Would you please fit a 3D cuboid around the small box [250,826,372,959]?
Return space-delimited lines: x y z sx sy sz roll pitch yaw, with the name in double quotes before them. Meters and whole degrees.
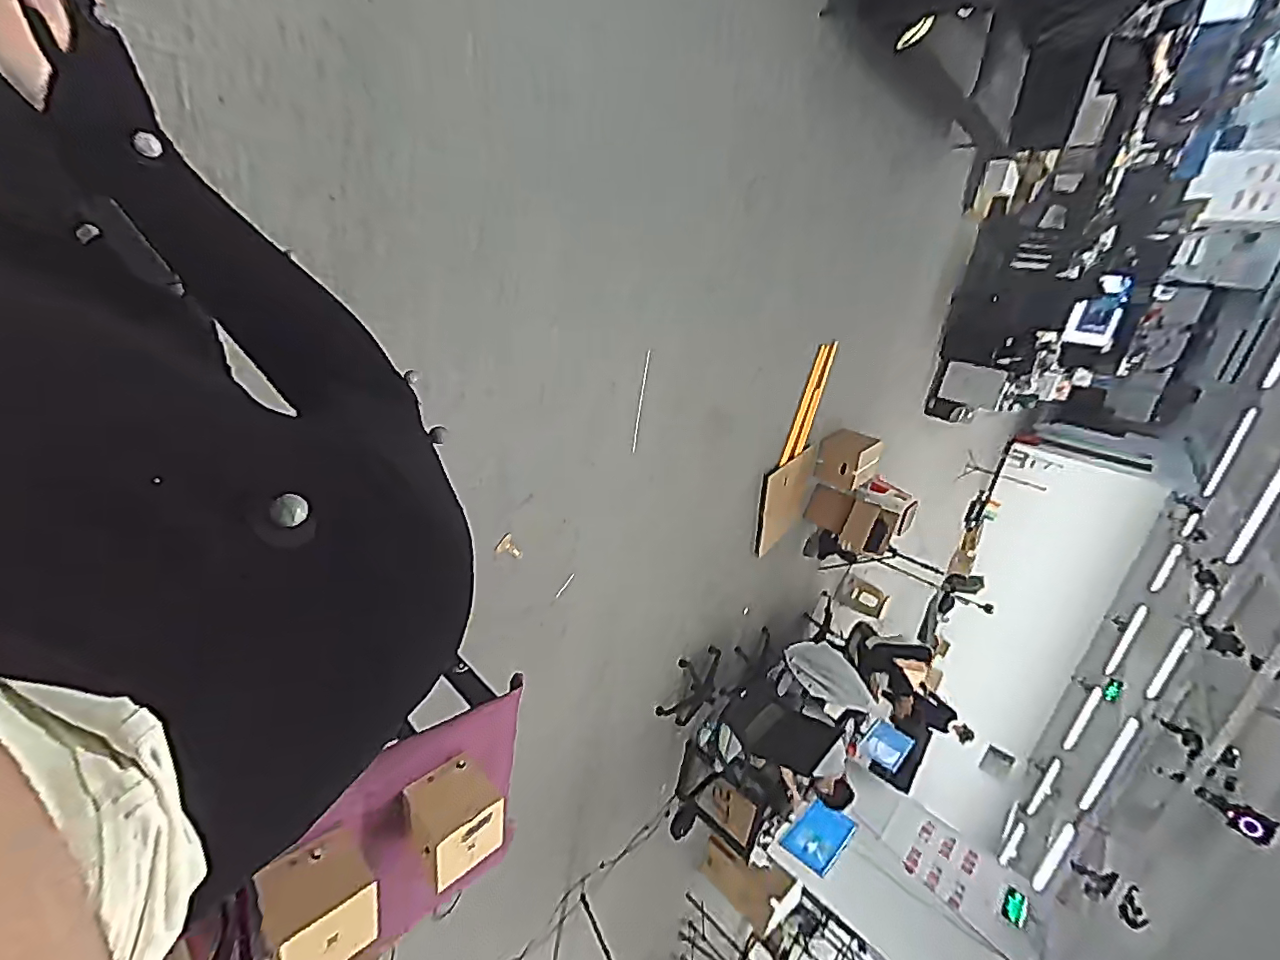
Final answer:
"small box" -0.650 0.844 1.071 0.168 0.176 0.179 -12 119 -46

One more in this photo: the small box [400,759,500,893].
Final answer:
"small box" -0.447 0.794 1.268 0.168 0.176 0.179 -16 124 -43

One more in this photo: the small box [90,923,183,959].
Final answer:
"small box" -0.841 0.887 0.876 0.168 0.176 0.179 -10 119 -46
